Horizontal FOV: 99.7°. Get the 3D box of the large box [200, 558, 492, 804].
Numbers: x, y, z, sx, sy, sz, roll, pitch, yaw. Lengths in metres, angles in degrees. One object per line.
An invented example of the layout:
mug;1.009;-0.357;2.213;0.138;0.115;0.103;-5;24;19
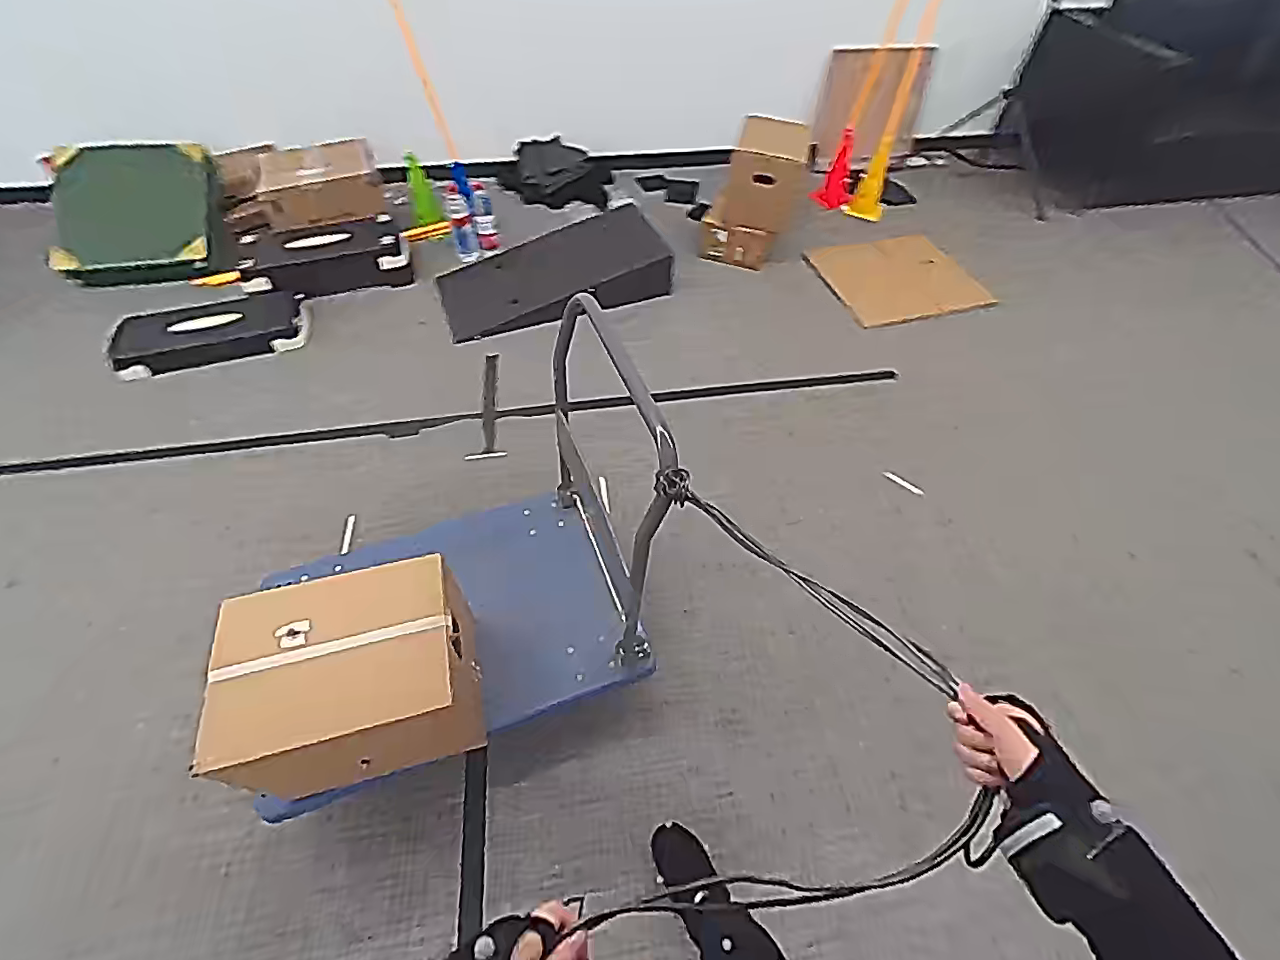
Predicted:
large box;-0.546;0.406;1.087;0.408;0.320;0.320;-13;53;-10
